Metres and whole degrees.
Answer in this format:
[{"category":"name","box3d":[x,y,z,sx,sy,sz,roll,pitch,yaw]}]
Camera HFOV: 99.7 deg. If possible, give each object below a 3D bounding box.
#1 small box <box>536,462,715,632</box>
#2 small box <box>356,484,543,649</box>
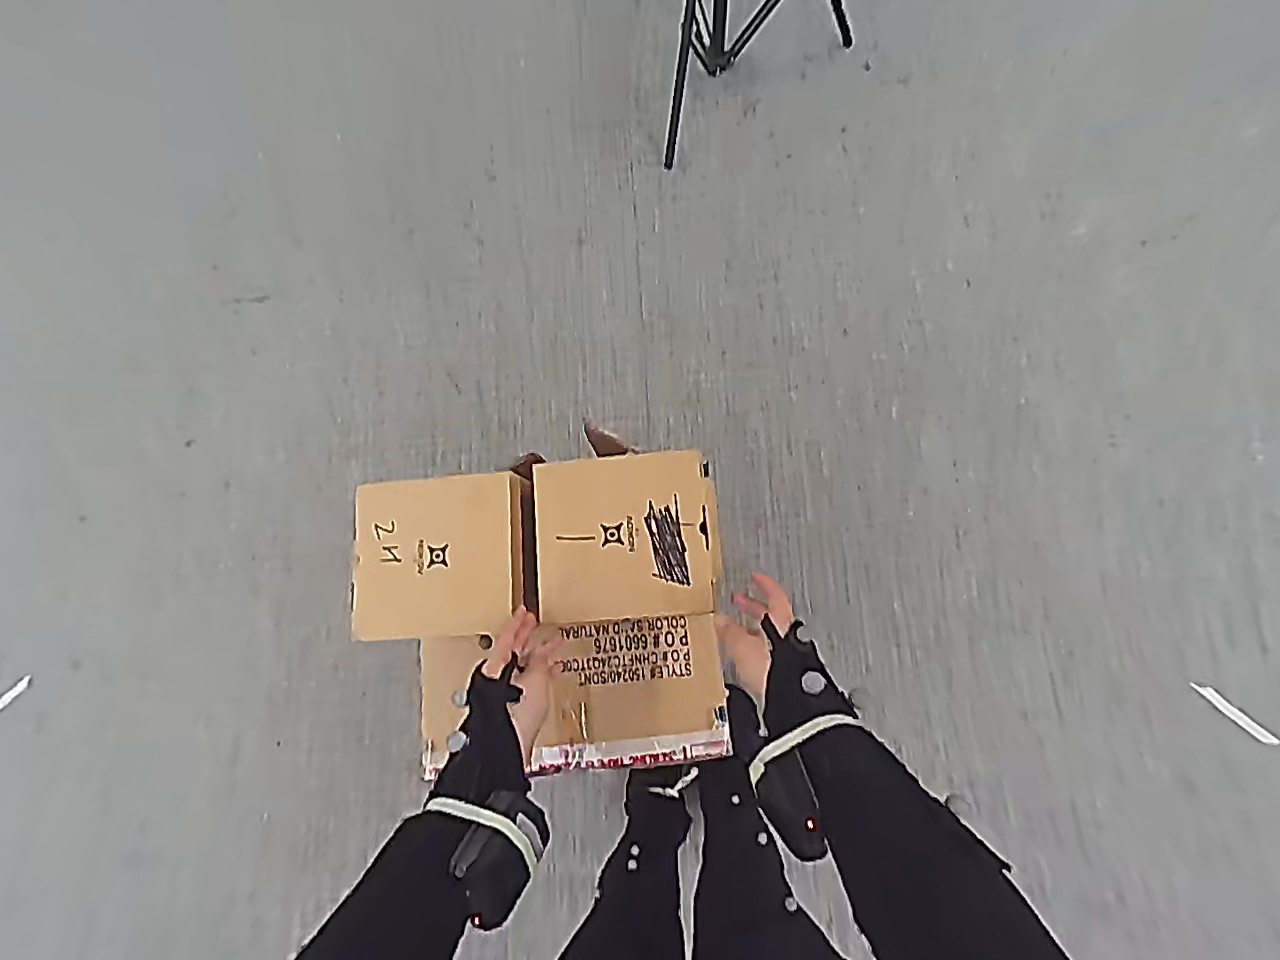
[{"category":"small box","box3d":[-0.013,0.081,0.629,0.179,0.176,0.168,-6,78,3]},{"category":"small box","box3d":[-0.202,0.104,0.641,0.179,0.176,0.168,-5,77,7]}]
